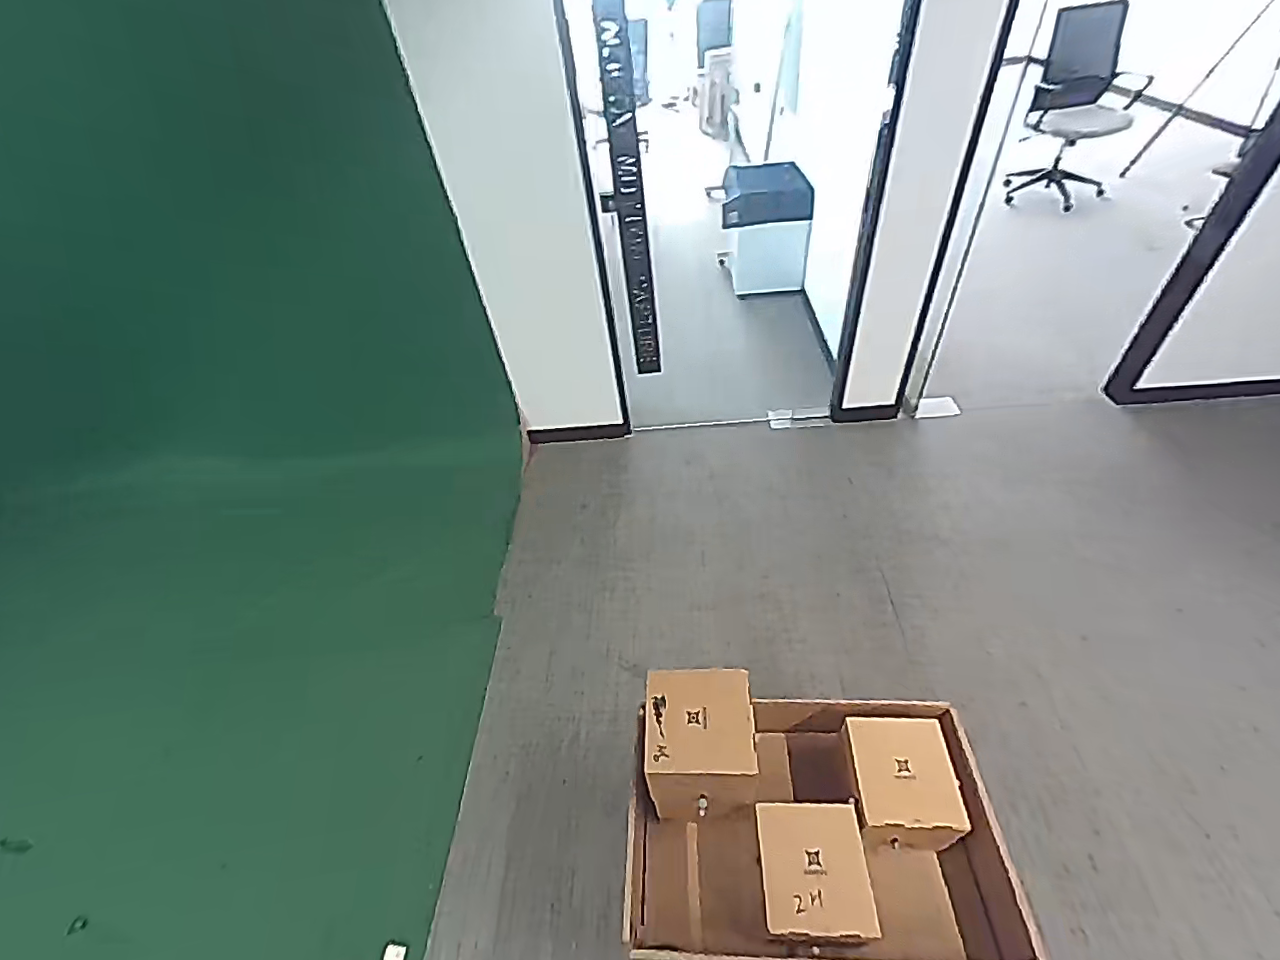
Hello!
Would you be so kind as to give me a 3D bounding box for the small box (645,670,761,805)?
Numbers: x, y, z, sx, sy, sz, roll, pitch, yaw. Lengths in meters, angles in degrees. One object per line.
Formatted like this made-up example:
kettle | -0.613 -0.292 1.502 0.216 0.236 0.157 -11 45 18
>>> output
small box | 0.105 0.444 0.928 0.179 0.176 0.168 -1 45 6
